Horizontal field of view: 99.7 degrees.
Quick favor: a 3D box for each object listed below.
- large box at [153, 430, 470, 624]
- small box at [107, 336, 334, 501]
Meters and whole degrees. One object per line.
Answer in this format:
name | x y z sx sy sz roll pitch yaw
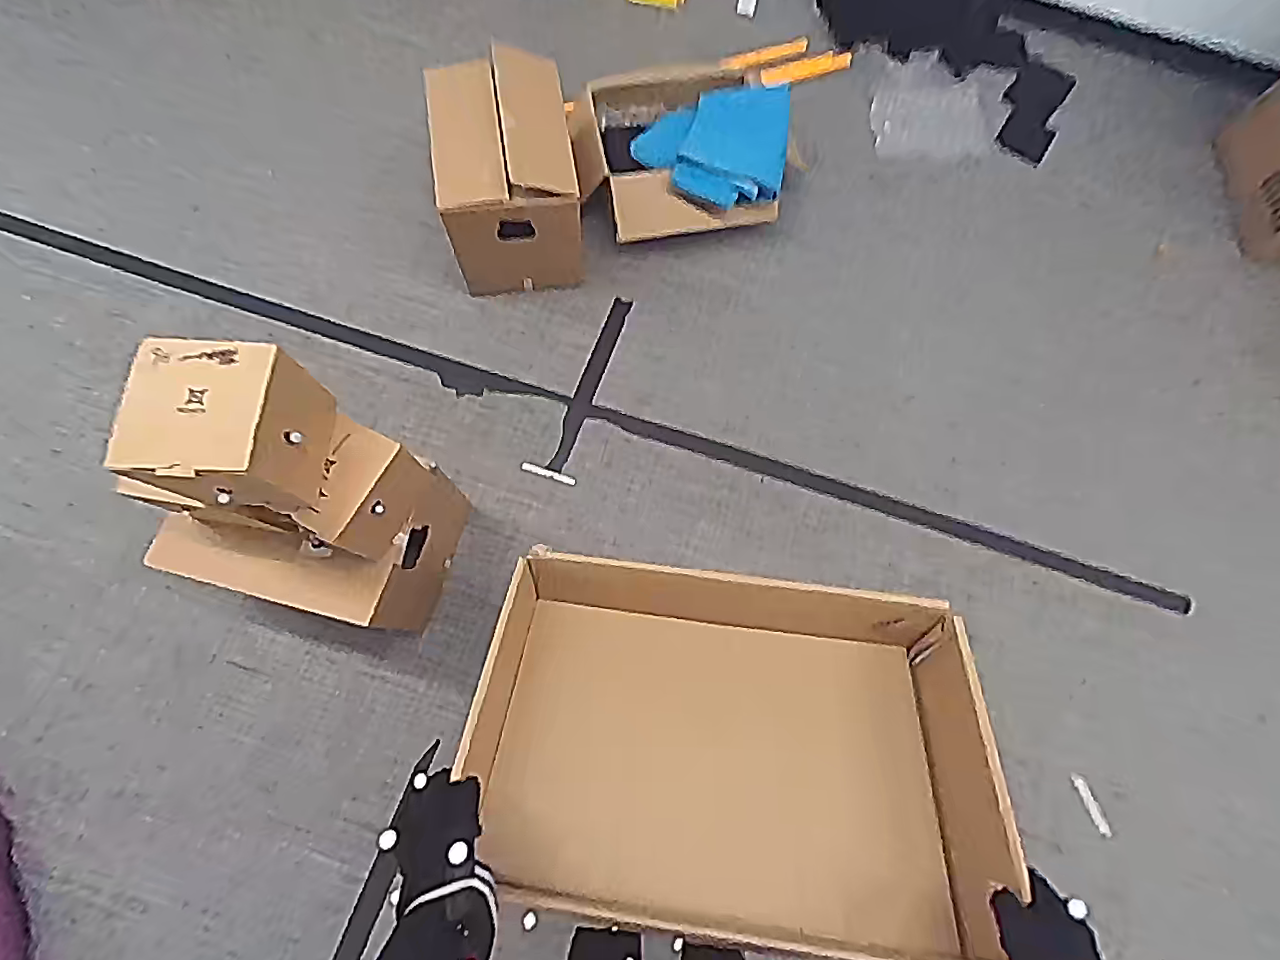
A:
large box | -0.618 0.093 1.107 0.408 0.320 0.320 15 74 0
small box | -0.547 -0.073 0.736 0.168 0.176 0.179 2 74 -3
